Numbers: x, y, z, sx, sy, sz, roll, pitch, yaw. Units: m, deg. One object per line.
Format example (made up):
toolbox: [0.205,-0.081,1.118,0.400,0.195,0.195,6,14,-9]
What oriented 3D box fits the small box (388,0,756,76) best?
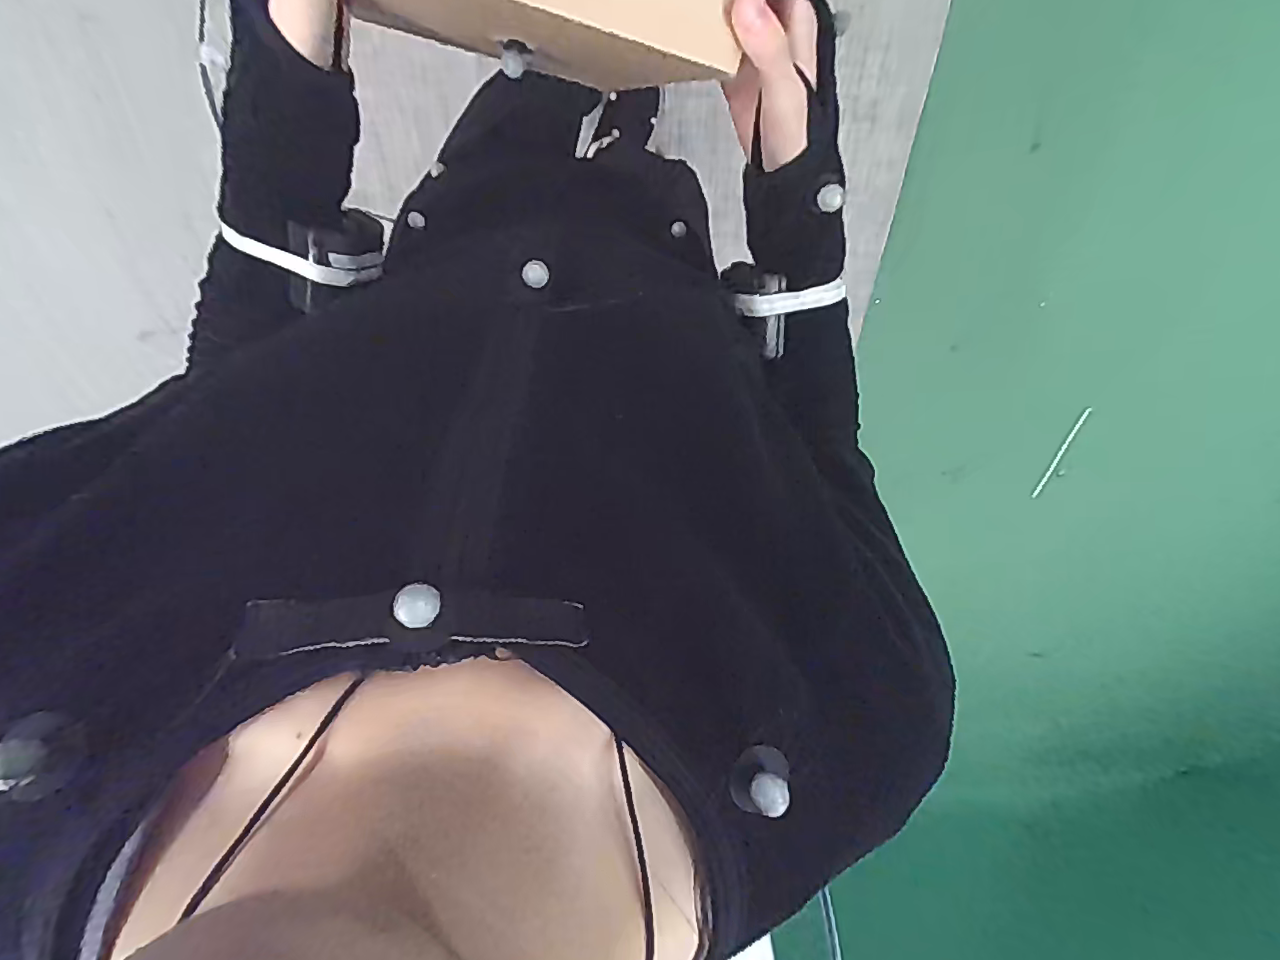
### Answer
small box: [-0.041,-0.308,0.242,0.168,0.176,0.179,-4,121,-28]
